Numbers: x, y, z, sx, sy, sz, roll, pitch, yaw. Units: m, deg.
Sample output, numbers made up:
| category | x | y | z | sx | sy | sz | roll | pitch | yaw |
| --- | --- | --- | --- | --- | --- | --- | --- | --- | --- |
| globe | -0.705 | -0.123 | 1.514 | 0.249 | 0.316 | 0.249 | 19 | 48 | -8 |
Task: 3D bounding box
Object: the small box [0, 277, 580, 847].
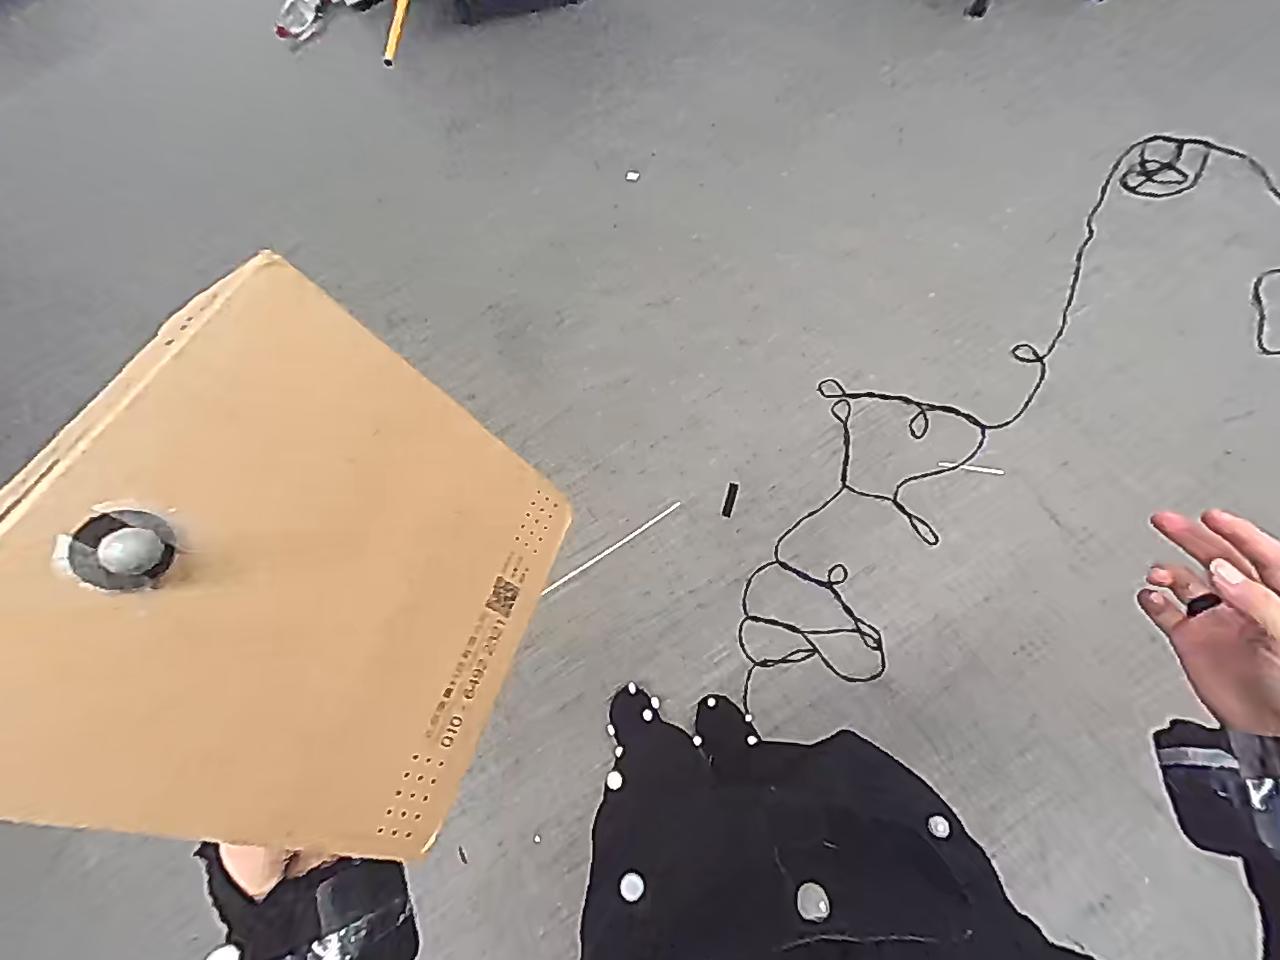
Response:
| category | x | y | z | sx | sy | sz | roll | pitch | yaw |
| --- | --- | --- | --- | --- | --- | --- | --- | --- | --- |
| small box | -0.162 | 0.046 | 0.251 | 0.179 | 0.176 | 0.168 | -3 | 56 | 38 |
